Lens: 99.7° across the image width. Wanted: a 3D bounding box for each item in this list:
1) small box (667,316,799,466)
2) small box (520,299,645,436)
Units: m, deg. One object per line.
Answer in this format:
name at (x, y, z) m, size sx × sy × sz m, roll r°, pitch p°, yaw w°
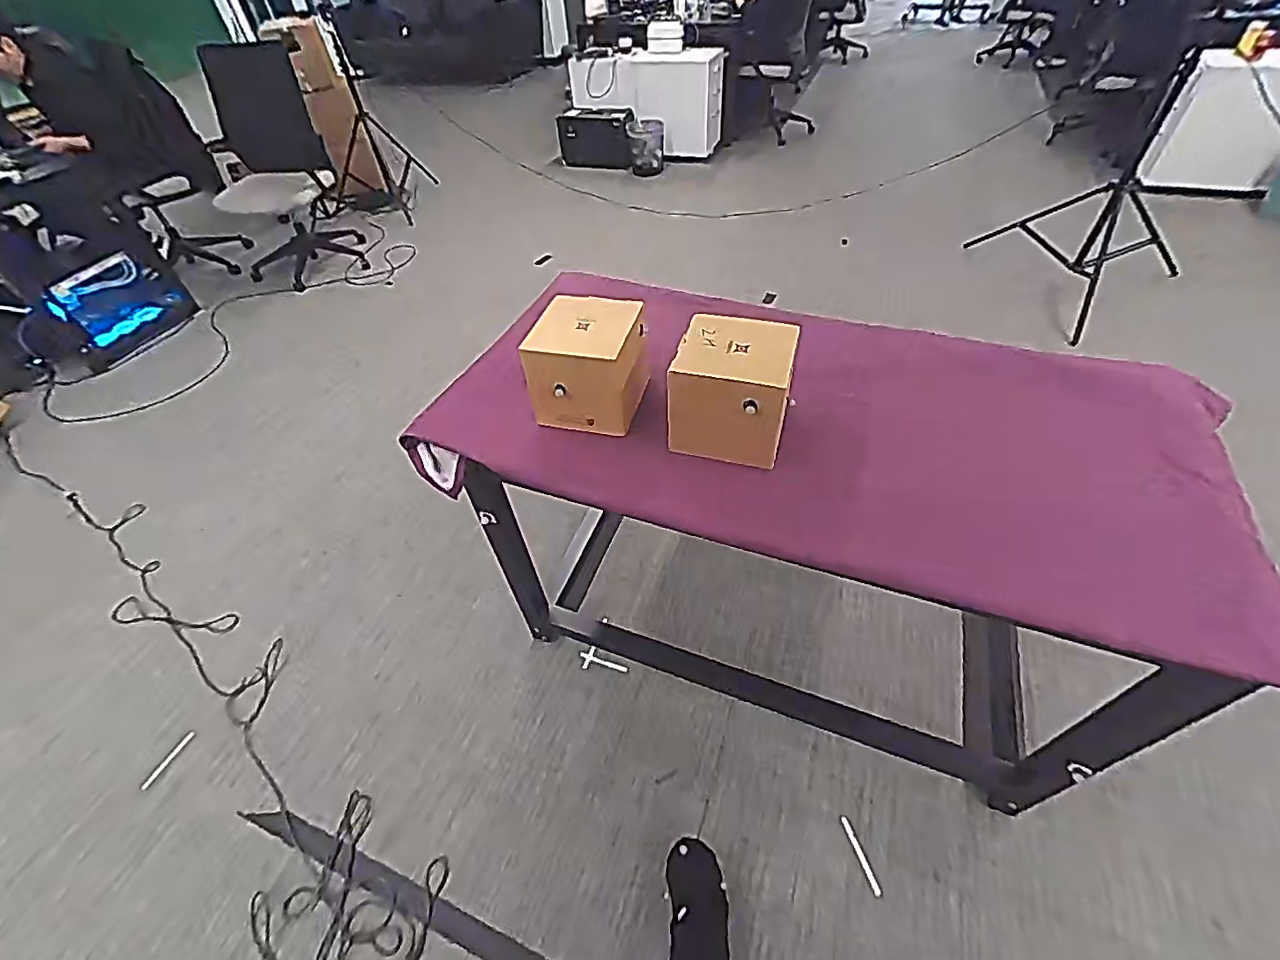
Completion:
small box at (0.150, -0.144, 0.885) m, size 0.179 × 0.176 × 0.168 m, roll 11°, pitch 48°, yaw 14°
small box at (-0.089, -0.198, 0.960) m, size 0.168 × 0.176 × 0.179 m, roll 8°, pitch 48°, yaw 12°
